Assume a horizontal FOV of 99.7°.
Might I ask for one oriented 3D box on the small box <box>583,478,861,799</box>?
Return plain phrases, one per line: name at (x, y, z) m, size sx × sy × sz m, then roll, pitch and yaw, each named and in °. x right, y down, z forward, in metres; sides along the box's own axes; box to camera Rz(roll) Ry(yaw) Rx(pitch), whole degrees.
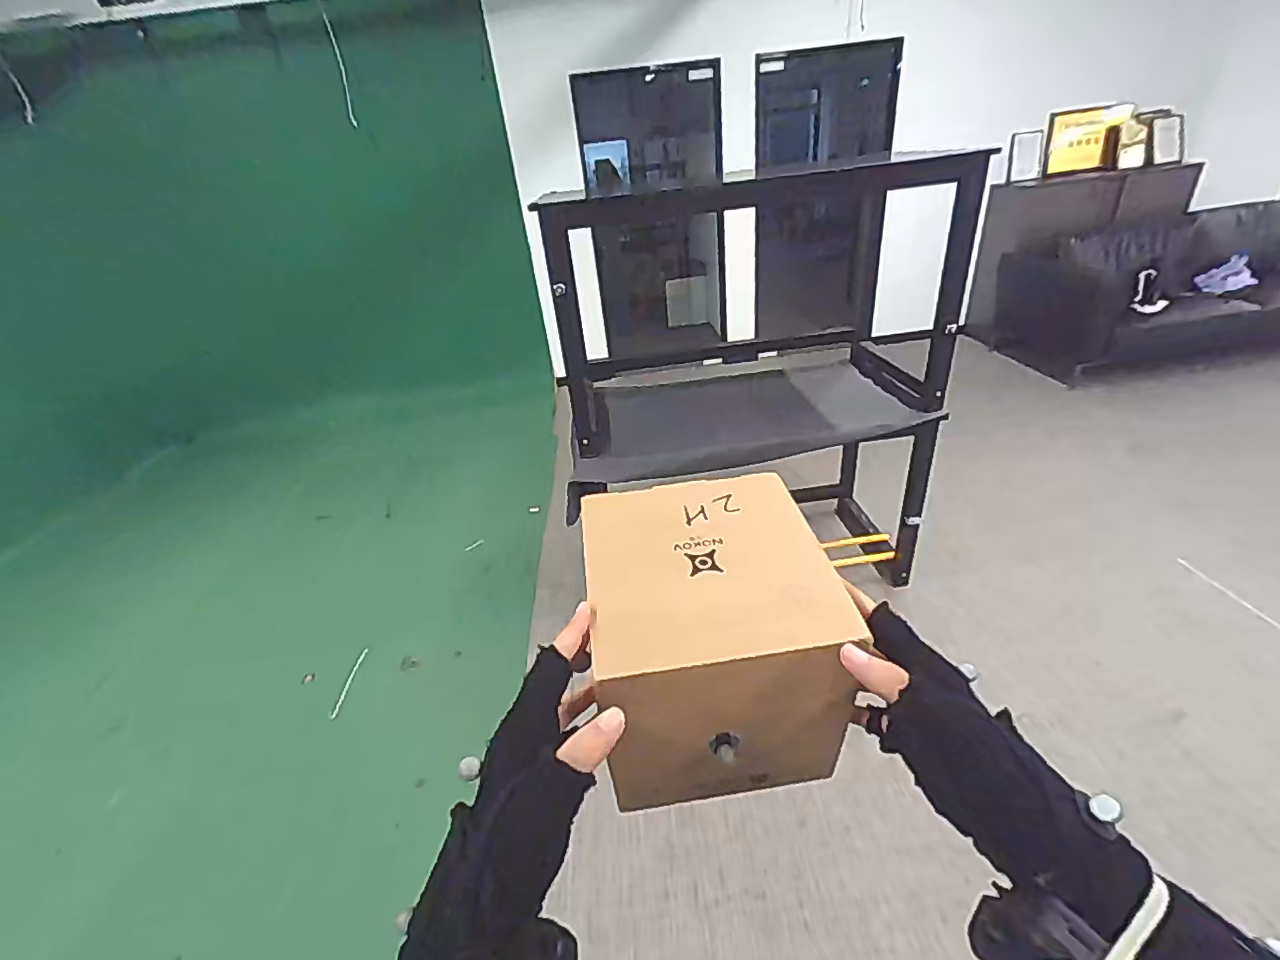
small box at (0.049, 0.123, 0.424) m, size 0.168 × 0.176 × 0.179 m, roll -7°, pitch 35°, yaw -3°
